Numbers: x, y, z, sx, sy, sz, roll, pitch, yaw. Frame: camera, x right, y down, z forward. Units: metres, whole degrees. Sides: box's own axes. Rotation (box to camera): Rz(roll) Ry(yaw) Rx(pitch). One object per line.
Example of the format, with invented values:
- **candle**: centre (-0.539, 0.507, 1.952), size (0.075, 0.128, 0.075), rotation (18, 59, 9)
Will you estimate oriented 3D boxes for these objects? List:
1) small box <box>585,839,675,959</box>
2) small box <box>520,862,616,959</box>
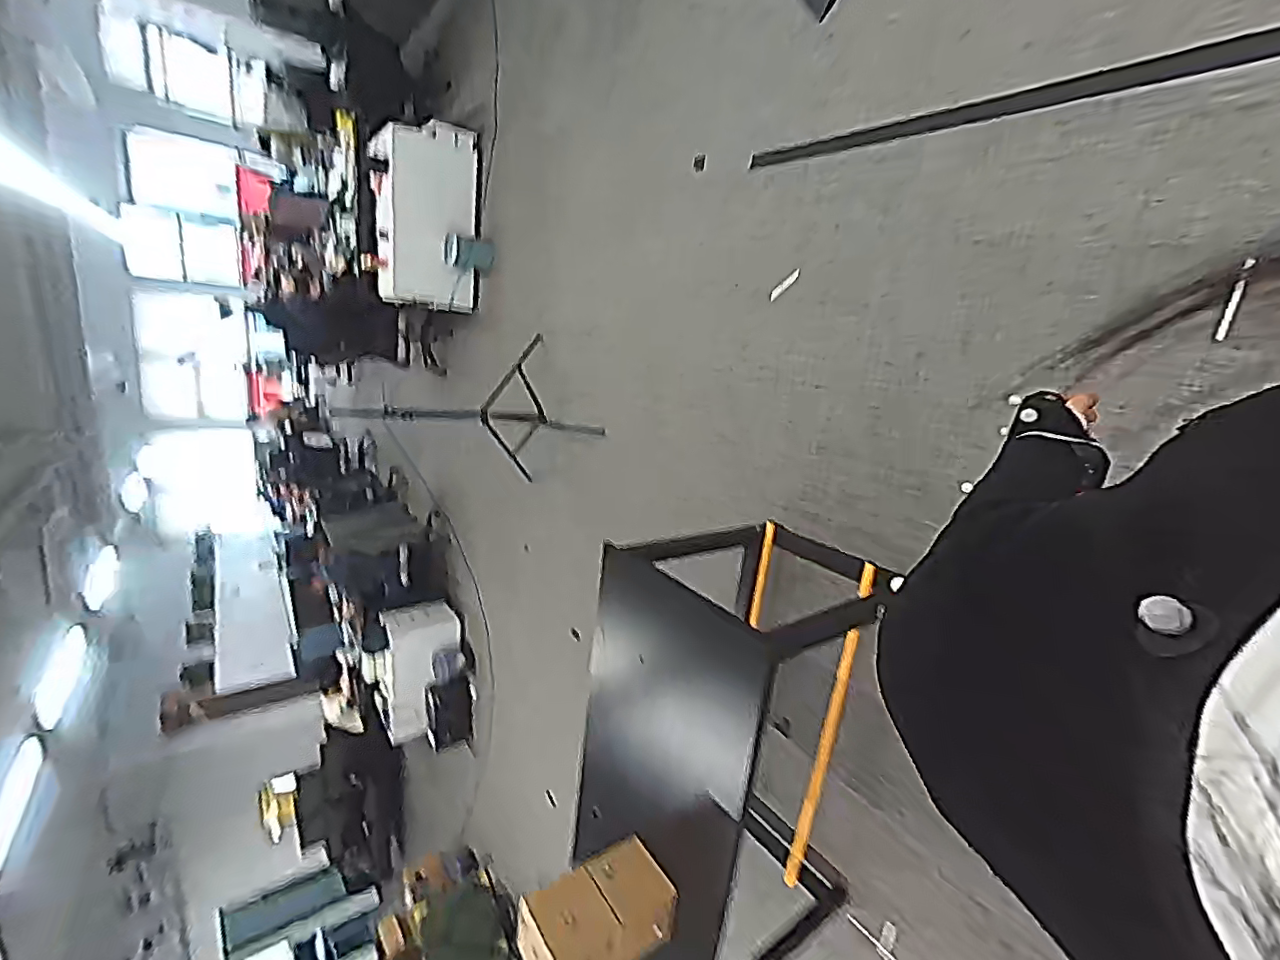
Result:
- **small box**: centre (-0.036, 1.069, 1.391), size (0.179, 0.176, 0.168), rotation (27, 115, 49)
- **small box**: centre (-0.173, 1.078, 1.302), size (0.179, 0.176, 0.168), rotation (23, 111, 50)
